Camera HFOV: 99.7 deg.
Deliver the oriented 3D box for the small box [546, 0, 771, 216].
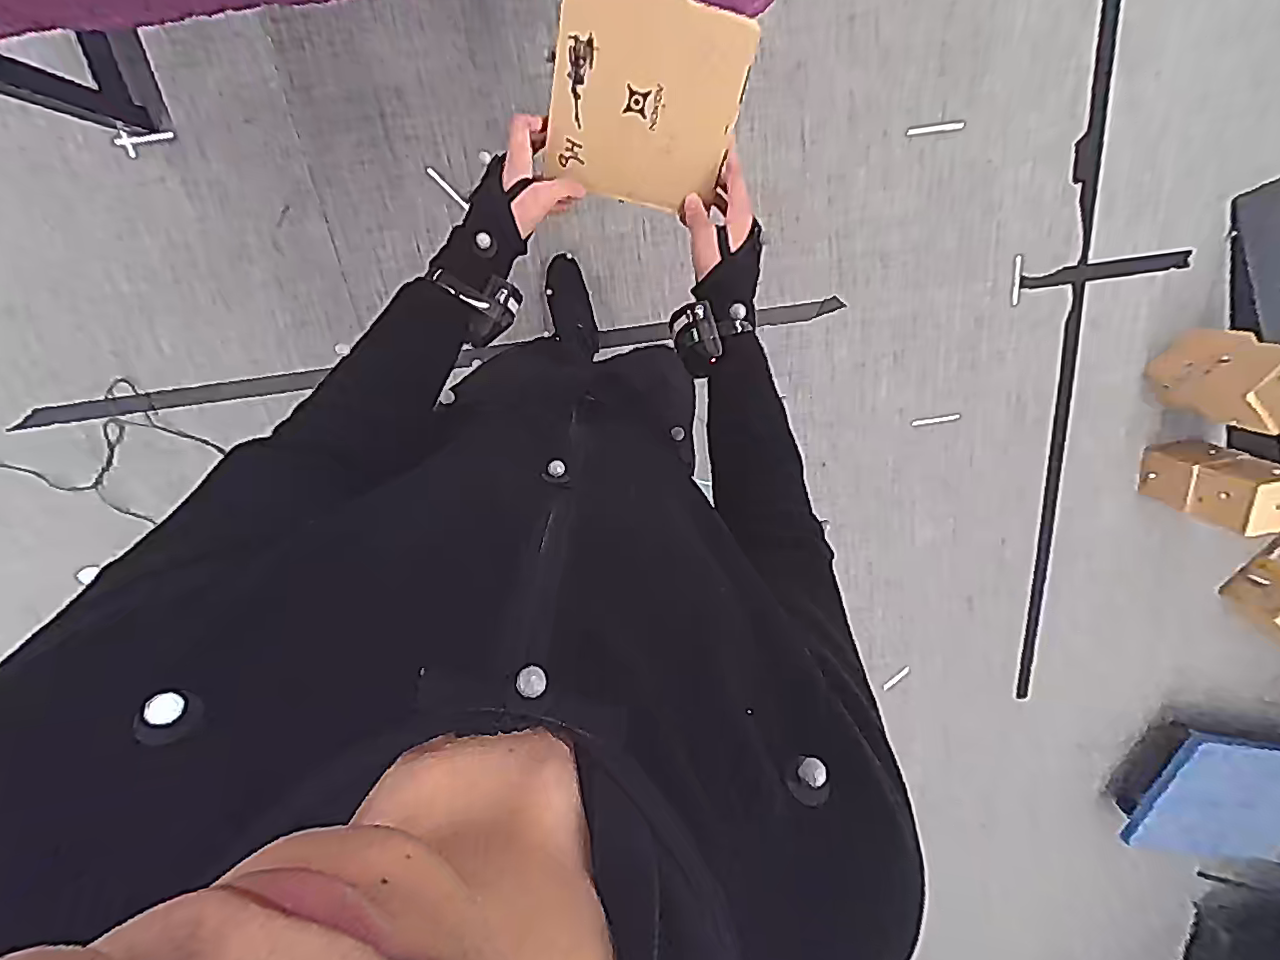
[{"bbox_3d":[0.007,-0.397,0.560,0.179,0.176,0.168,10,125,-10],"label":"small box"}]
